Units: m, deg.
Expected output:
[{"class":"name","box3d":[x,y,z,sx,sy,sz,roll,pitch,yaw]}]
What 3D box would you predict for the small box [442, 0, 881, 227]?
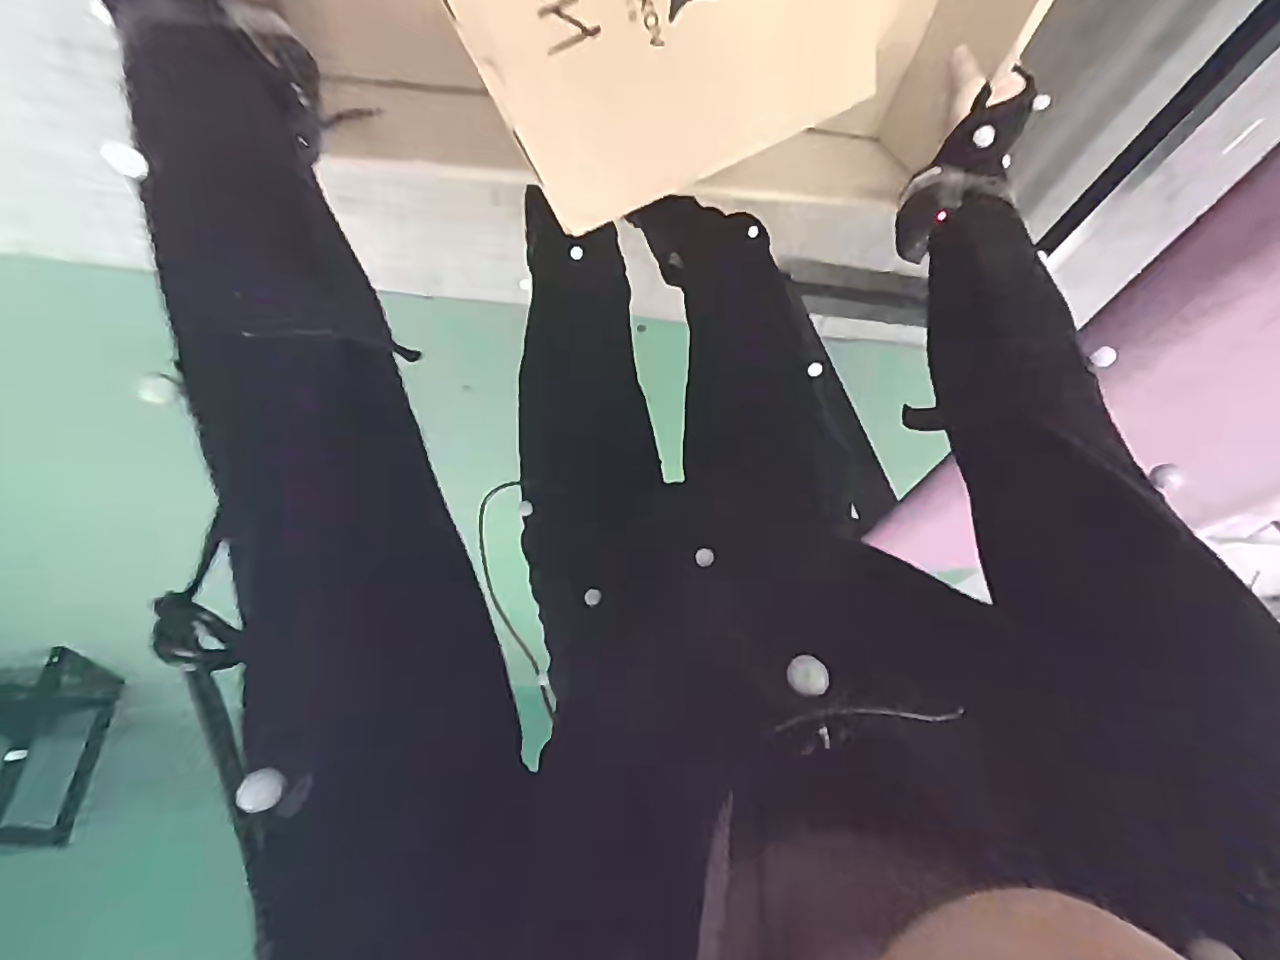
[{"class":"small box","box3d":[-0.004,-0.271,0.261,0.179,0.176,0.168,-19,144,12]}]
